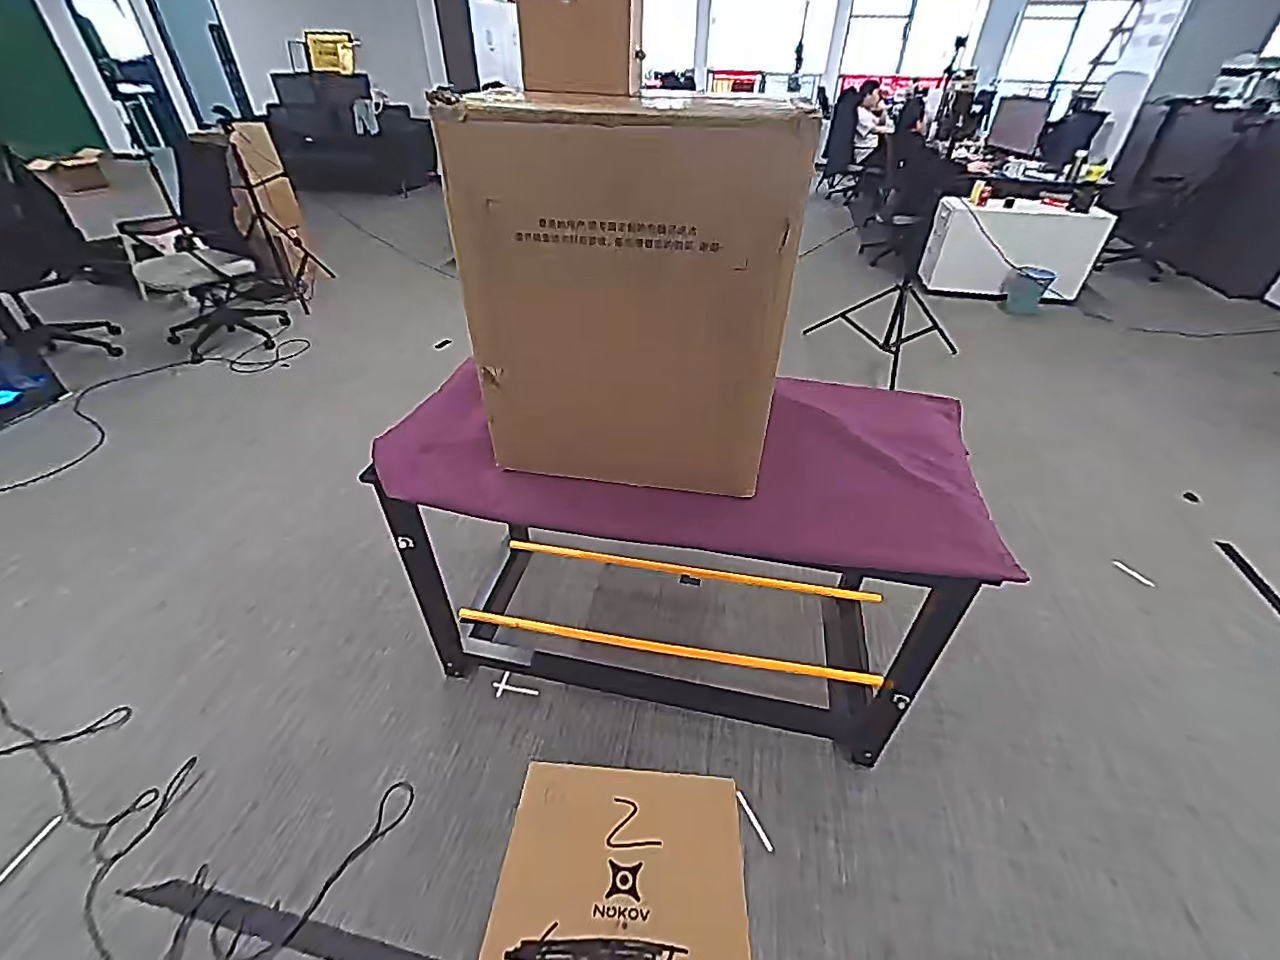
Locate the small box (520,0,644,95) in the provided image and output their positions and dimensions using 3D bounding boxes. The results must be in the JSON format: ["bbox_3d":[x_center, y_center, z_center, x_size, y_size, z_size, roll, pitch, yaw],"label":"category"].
[{"bbox_3d":[-0.090,-0.731,0.874,0.179,0.176,0.168,6,39,4],"label":"small box"}]
